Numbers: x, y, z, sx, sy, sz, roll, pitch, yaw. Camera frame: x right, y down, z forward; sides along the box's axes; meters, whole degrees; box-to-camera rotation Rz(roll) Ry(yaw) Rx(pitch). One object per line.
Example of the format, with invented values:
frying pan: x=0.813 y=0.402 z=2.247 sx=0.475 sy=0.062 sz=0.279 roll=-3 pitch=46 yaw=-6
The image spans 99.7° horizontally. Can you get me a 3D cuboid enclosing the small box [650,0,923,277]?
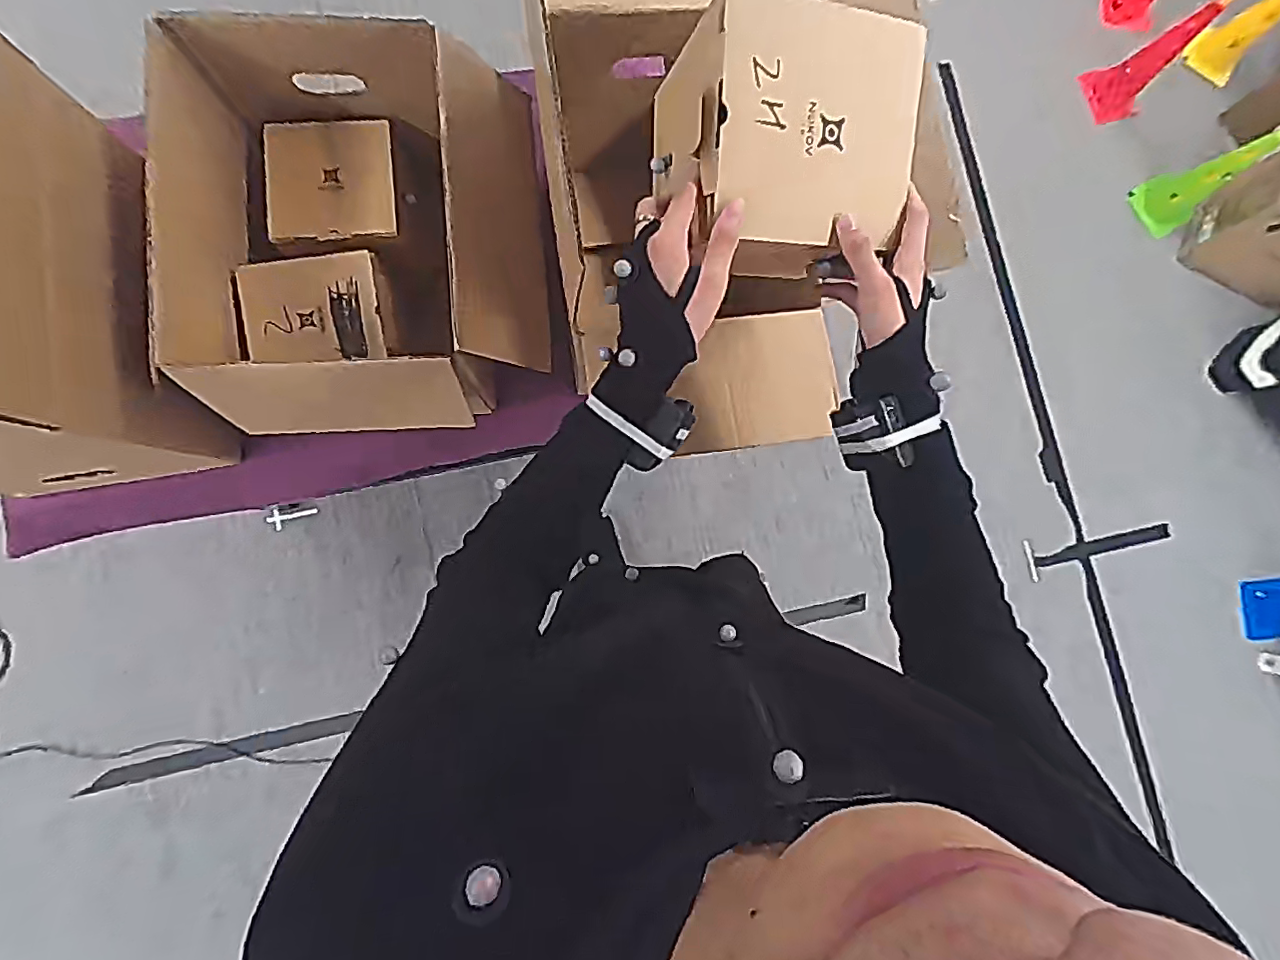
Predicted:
small box: x=0.117 y=-0.286 z=0.499 sx=0.179 sy=0.176 sz=0.168 roll=-2 pitch=103 yaw=-14
